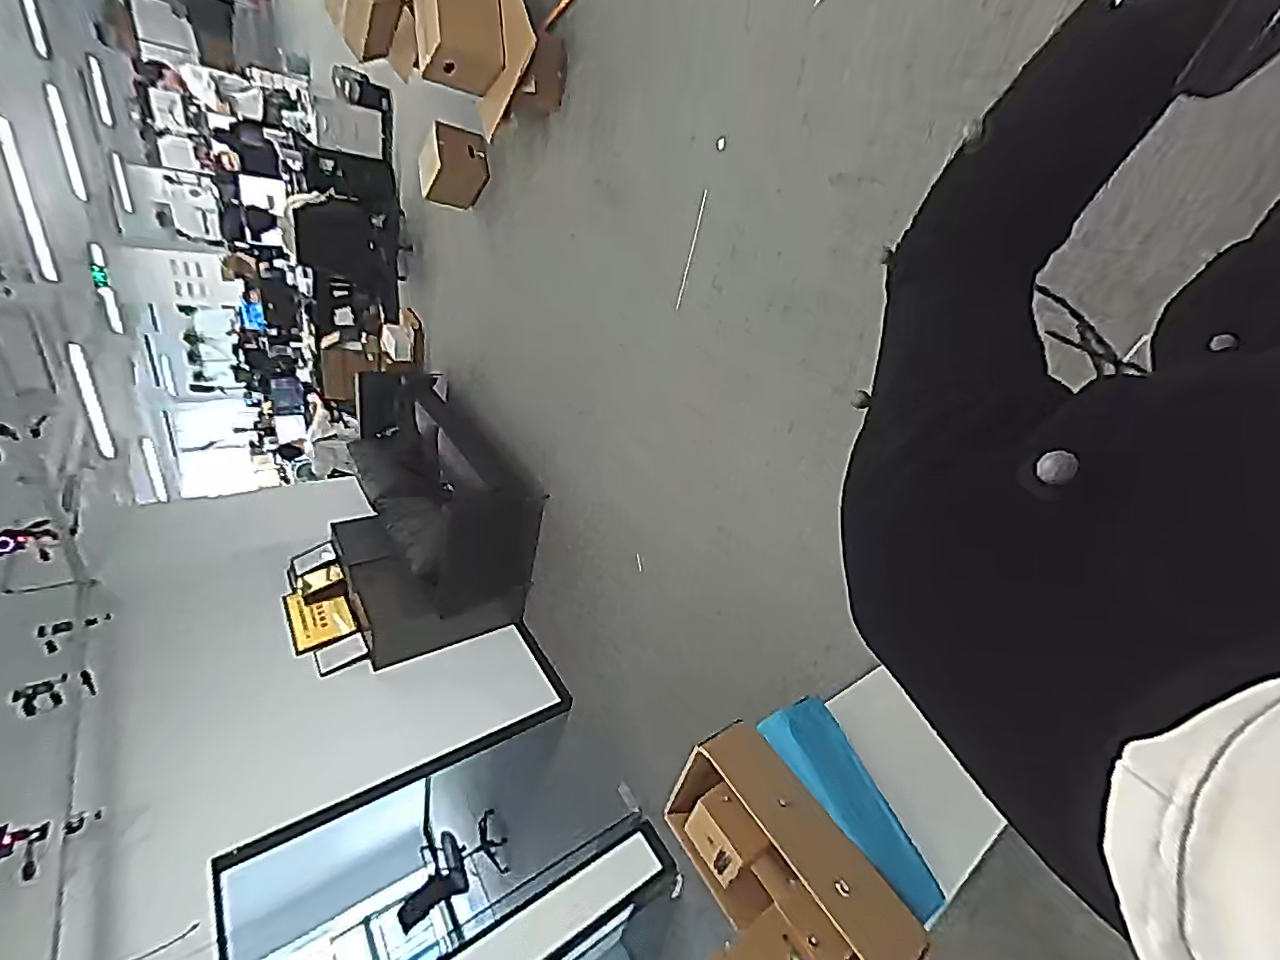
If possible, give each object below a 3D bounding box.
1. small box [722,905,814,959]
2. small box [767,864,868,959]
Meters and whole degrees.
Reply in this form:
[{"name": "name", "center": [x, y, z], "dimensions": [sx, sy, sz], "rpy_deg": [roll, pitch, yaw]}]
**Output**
[{"name": "small box", "center": [0.280, 1.111, 1.209], "dimensions": [0.168, 0.176, 0.179], "rpy_deg": [45, 133, 39]}, {"name": "small box", "center": [0.411, 1.078, 1.299], "dimensions": [0.168, 0.176, 0.179], "rpy_deg": [44, 134, 38]}]
